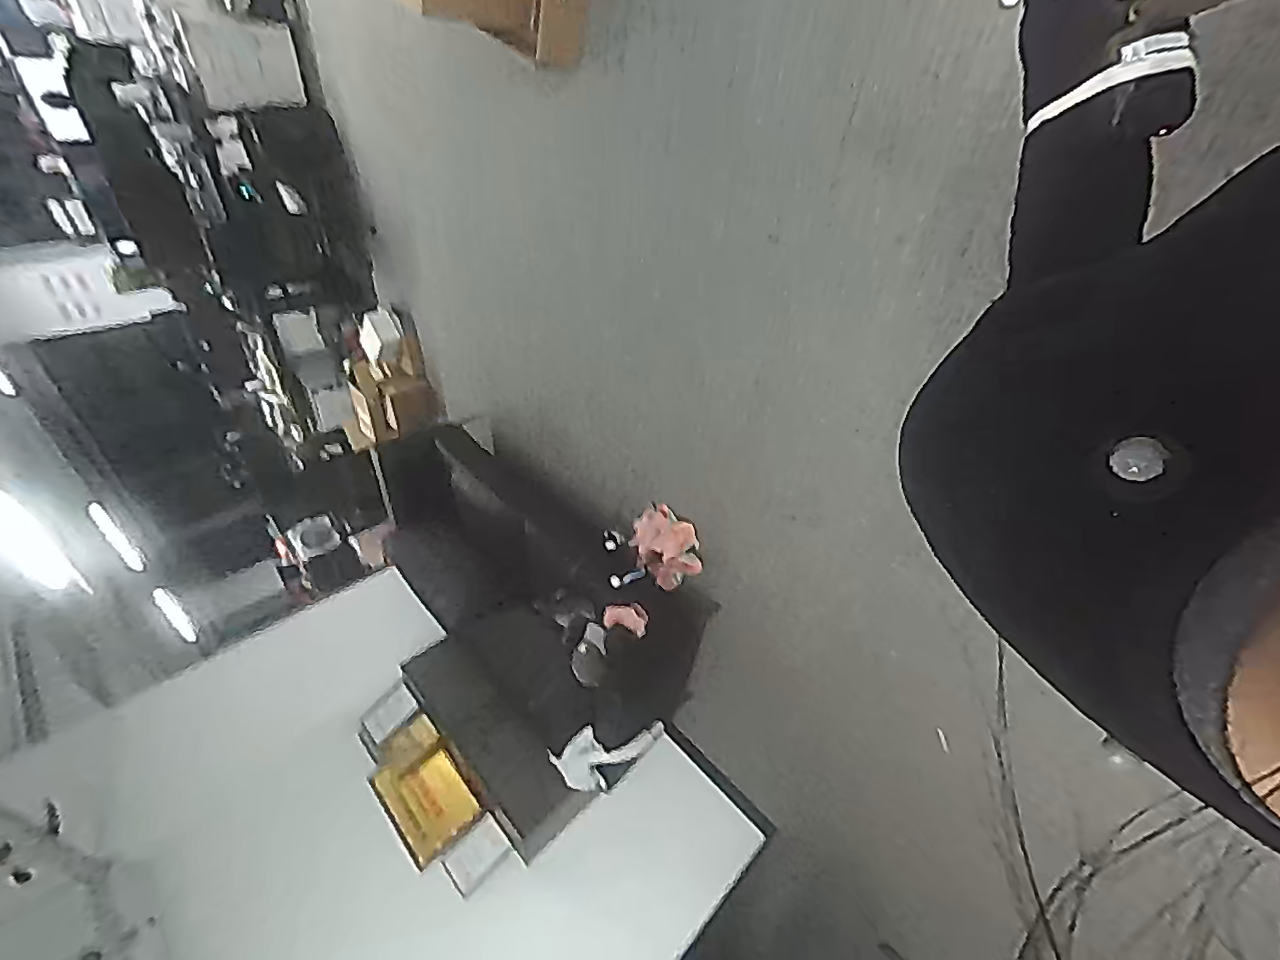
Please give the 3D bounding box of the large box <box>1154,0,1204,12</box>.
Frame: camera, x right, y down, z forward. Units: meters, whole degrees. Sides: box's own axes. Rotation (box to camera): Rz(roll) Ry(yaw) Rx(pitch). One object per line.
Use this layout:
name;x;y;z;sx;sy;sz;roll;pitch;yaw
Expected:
large box;0.535;-0.529;0.267;0.408;0.320;0.320;3;119;44
